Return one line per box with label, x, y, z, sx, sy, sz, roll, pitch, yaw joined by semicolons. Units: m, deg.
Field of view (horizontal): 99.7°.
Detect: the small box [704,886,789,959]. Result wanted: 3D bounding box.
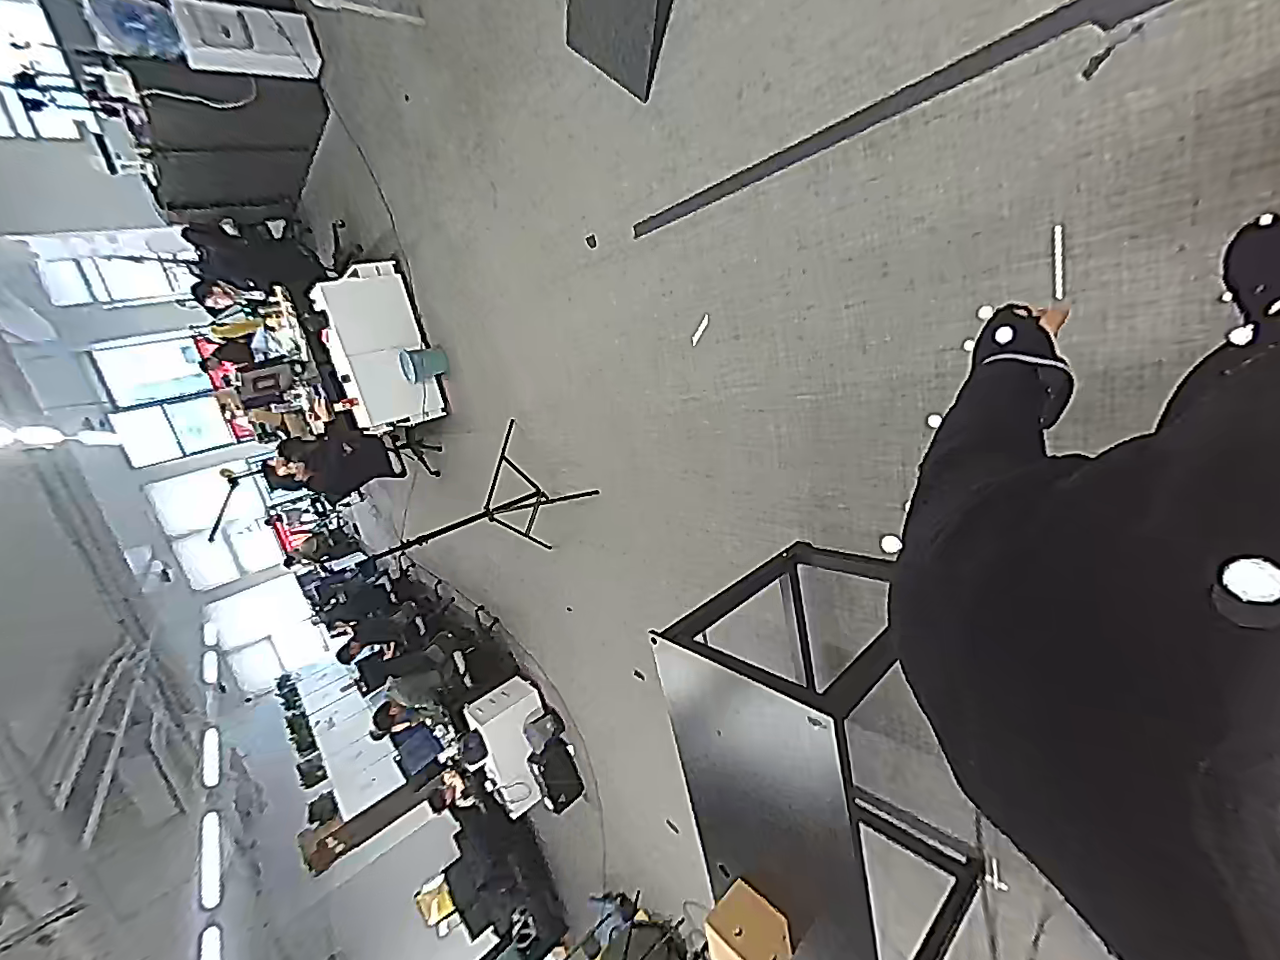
small box;0.315;1.342;1.568;0.179;0.176;0.168;11;117;51
